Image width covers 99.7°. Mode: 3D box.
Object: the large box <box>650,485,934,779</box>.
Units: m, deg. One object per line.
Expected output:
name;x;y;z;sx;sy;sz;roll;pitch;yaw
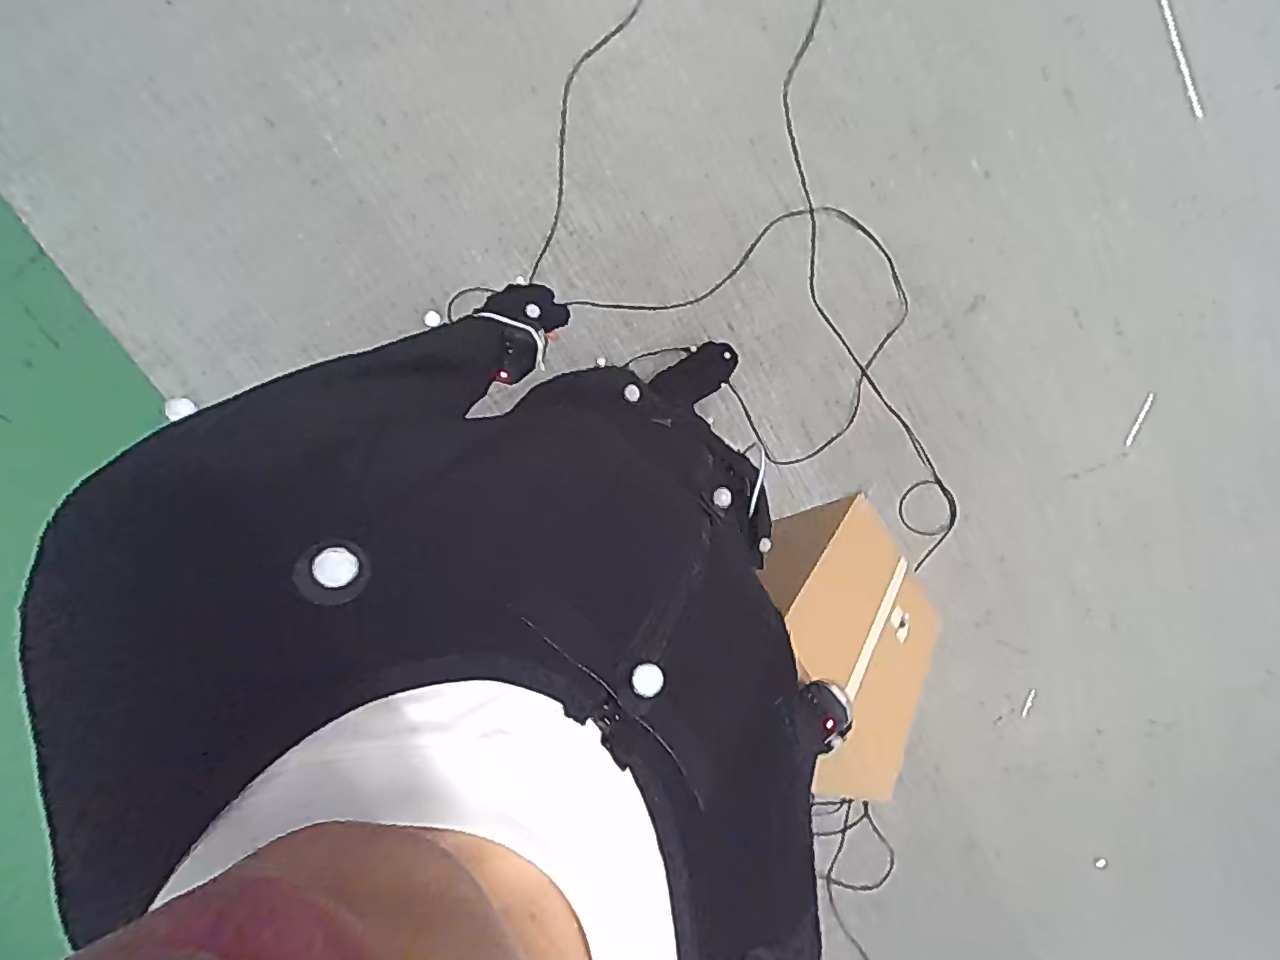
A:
large box;0.292;0.275;1.015;0.320;0.408;0.320;-26;99;45
